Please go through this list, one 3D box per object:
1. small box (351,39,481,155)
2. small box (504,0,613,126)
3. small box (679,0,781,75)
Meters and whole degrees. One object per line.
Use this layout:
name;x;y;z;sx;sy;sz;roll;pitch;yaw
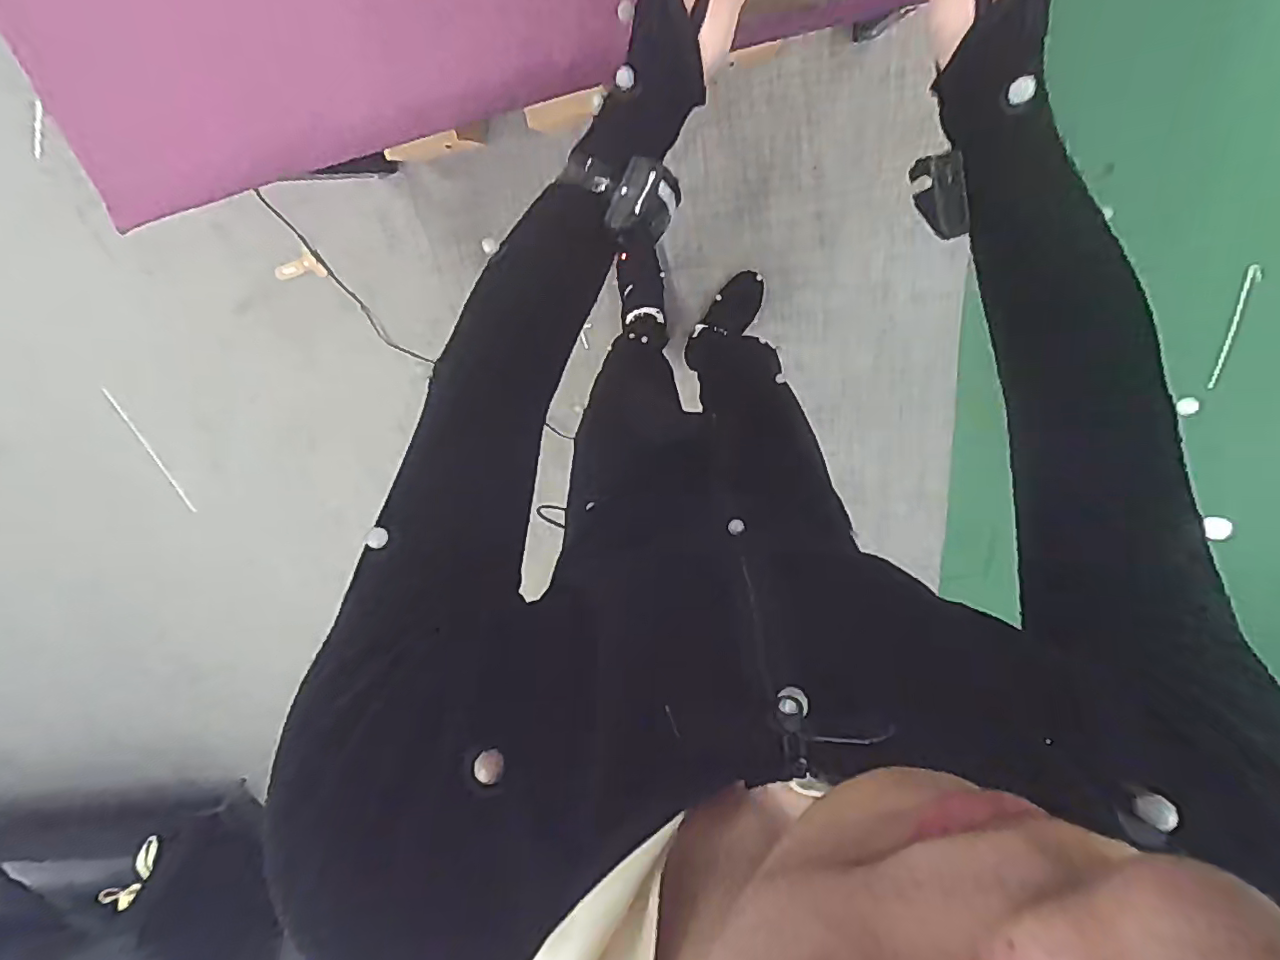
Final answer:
small box;-0.478;-0.824;1.182;0.179;0.176;0.168;-9;119;10
small box;-0.159;-0.860;1.132;0.179;0.176;0.168;-8;118;10
small box;0.170;-0.927;1.061;0.179;0.176;0.168;-11;119;12
